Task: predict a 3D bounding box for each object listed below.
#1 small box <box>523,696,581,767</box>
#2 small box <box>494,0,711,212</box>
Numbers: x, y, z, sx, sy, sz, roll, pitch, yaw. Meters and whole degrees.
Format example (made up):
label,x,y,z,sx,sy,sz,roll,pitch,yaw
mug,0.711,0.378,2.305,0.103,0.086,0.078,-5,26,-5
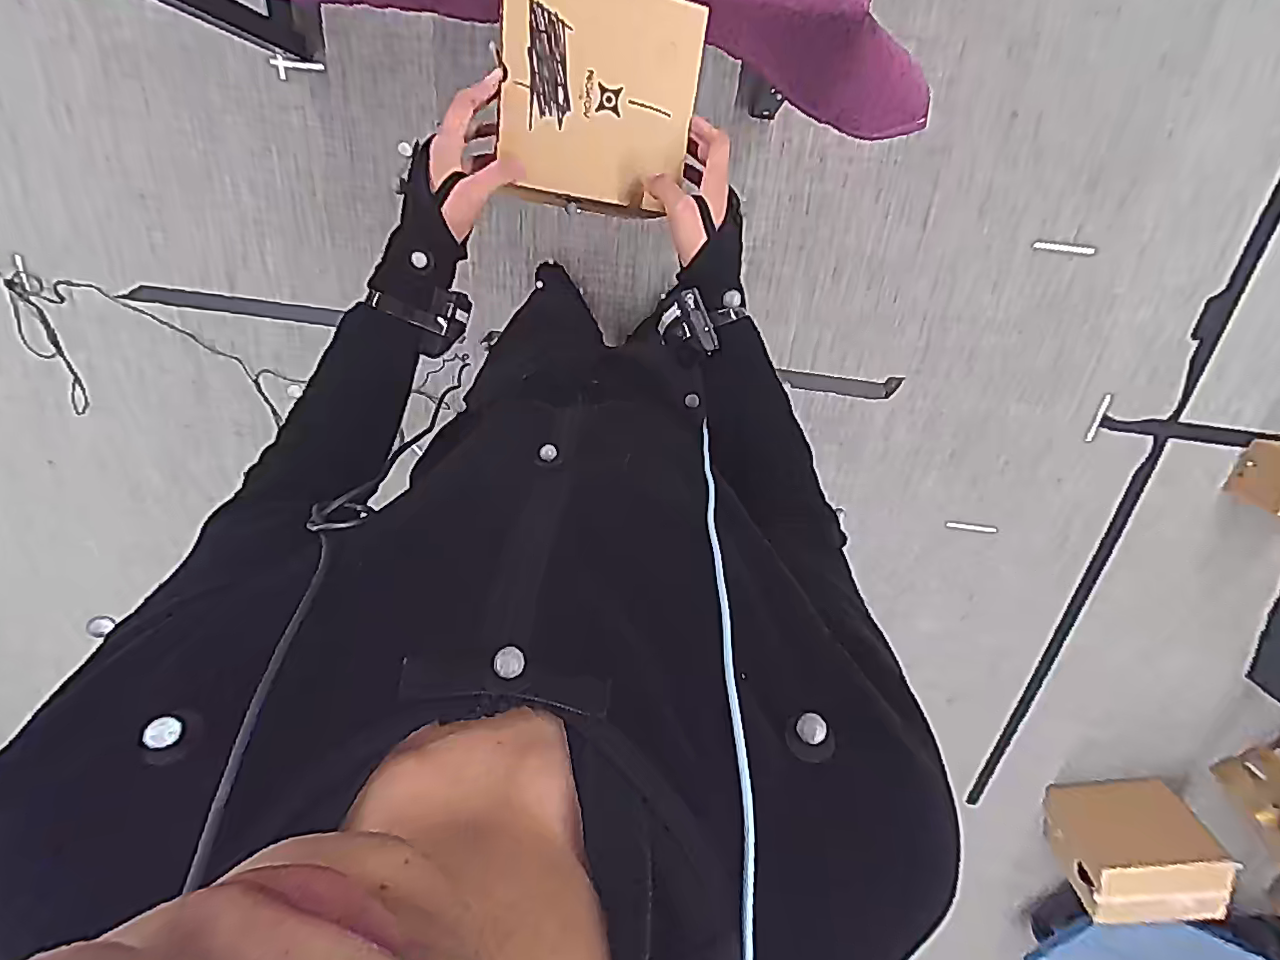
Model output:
label,x,y,z,sx,sy,sz,roll,pitch,yaw
small box,-0.337,0.970,2.097,0.179,0.176,0.168,13,114,-3
small box,-0.051,-0.375,0.546,0.179,0.176,0.168,3,113,-15
